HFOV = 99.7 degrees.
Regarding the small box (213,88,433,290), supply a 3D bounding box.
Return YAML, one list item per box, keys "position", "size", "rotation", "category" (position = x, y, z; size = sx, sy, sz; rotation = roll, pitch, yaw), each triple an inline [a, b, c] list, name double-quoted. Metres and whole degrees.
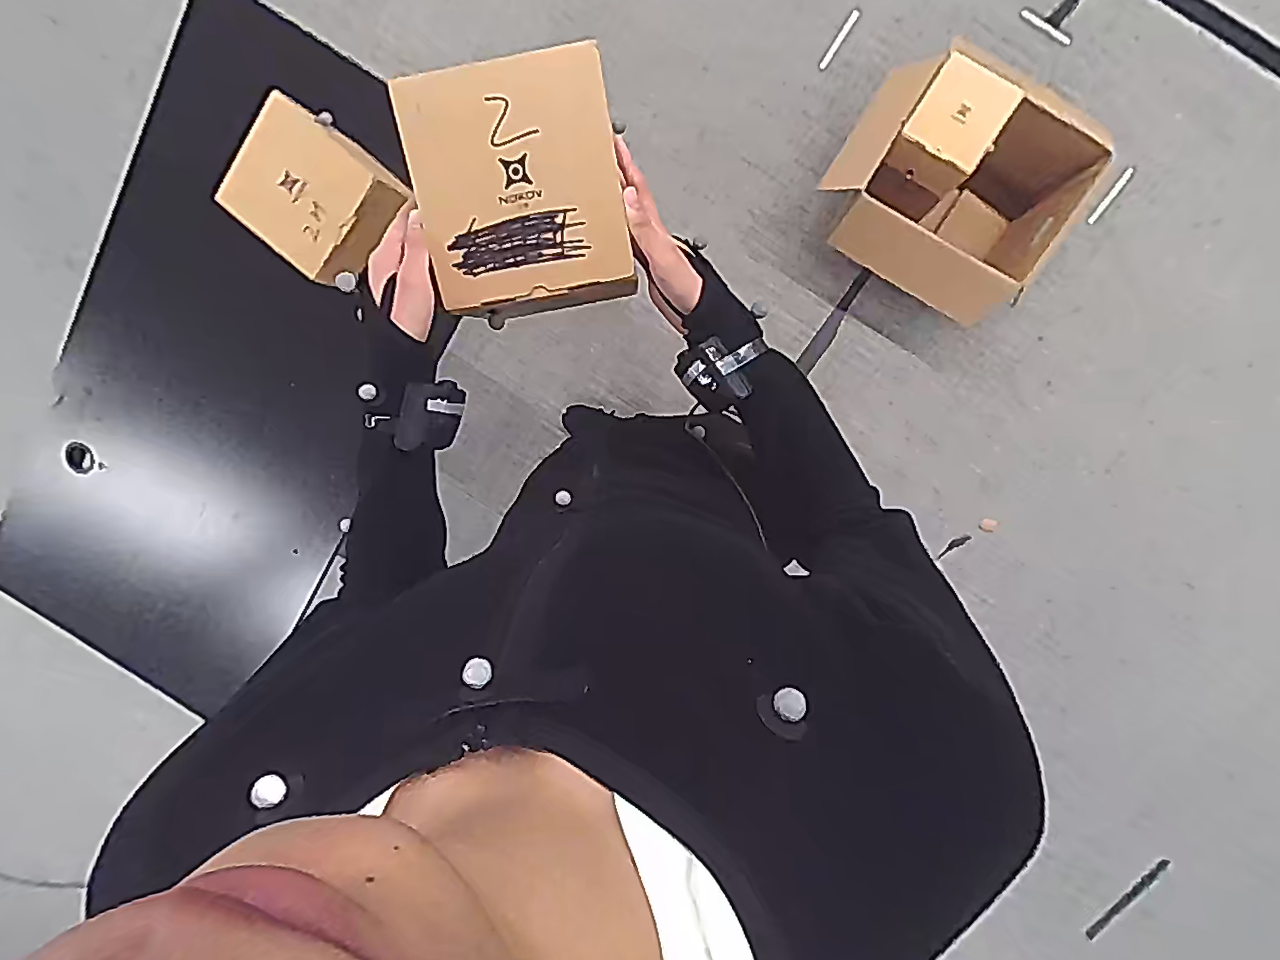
- position: [-0.444, -0.399, 0.782]
  size: [0.179, 0.176, 0.168]
  rotation: [40, 103, -2]
  category: "small box"
